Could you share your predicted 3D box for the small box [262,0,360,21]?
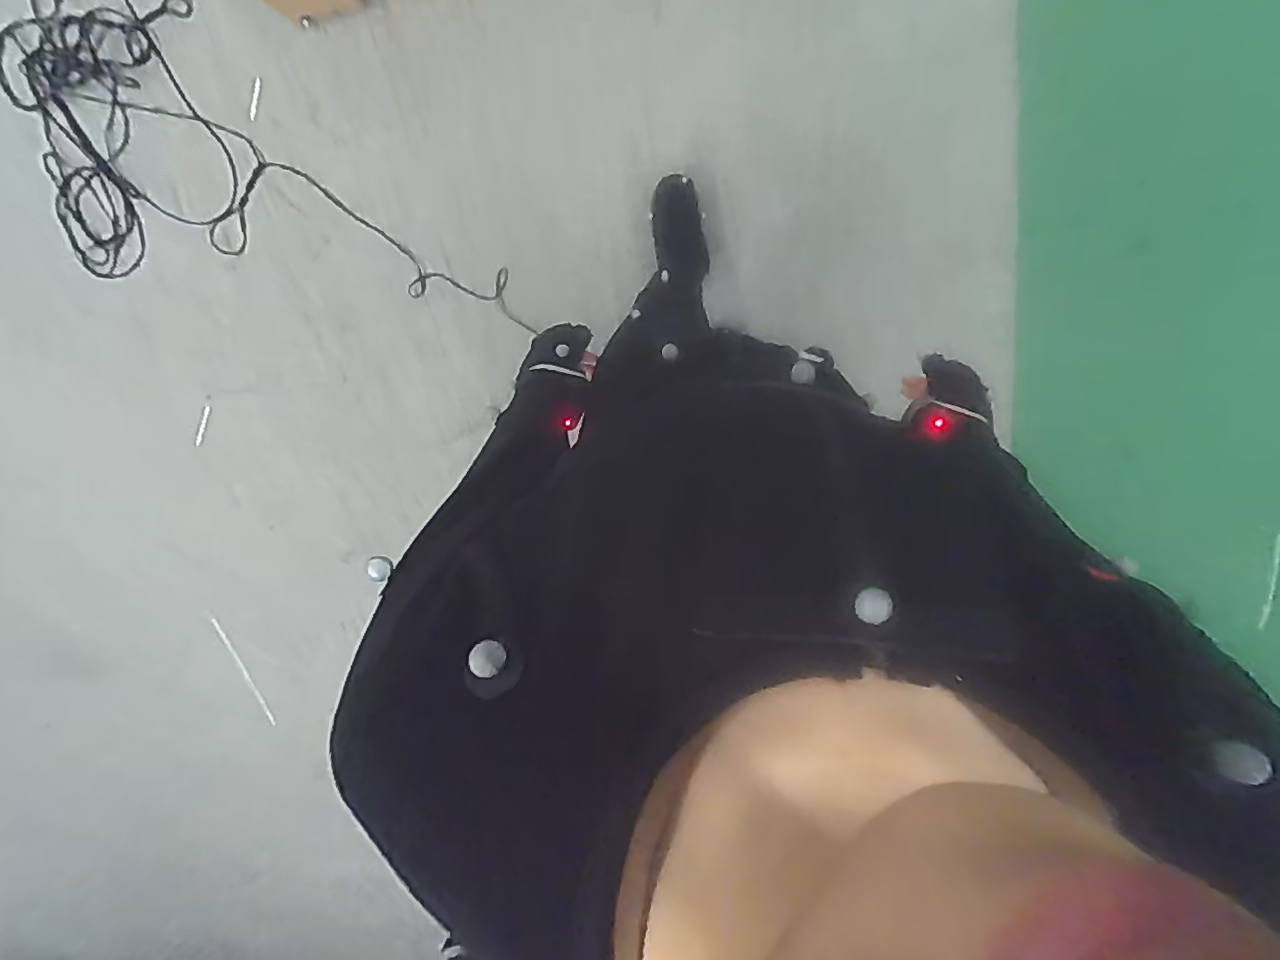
[{"bbox_3d":[-0.712,-1.087,1.109,0.168,0.176,0.179,-8,108,8],"label":"small box"}]
